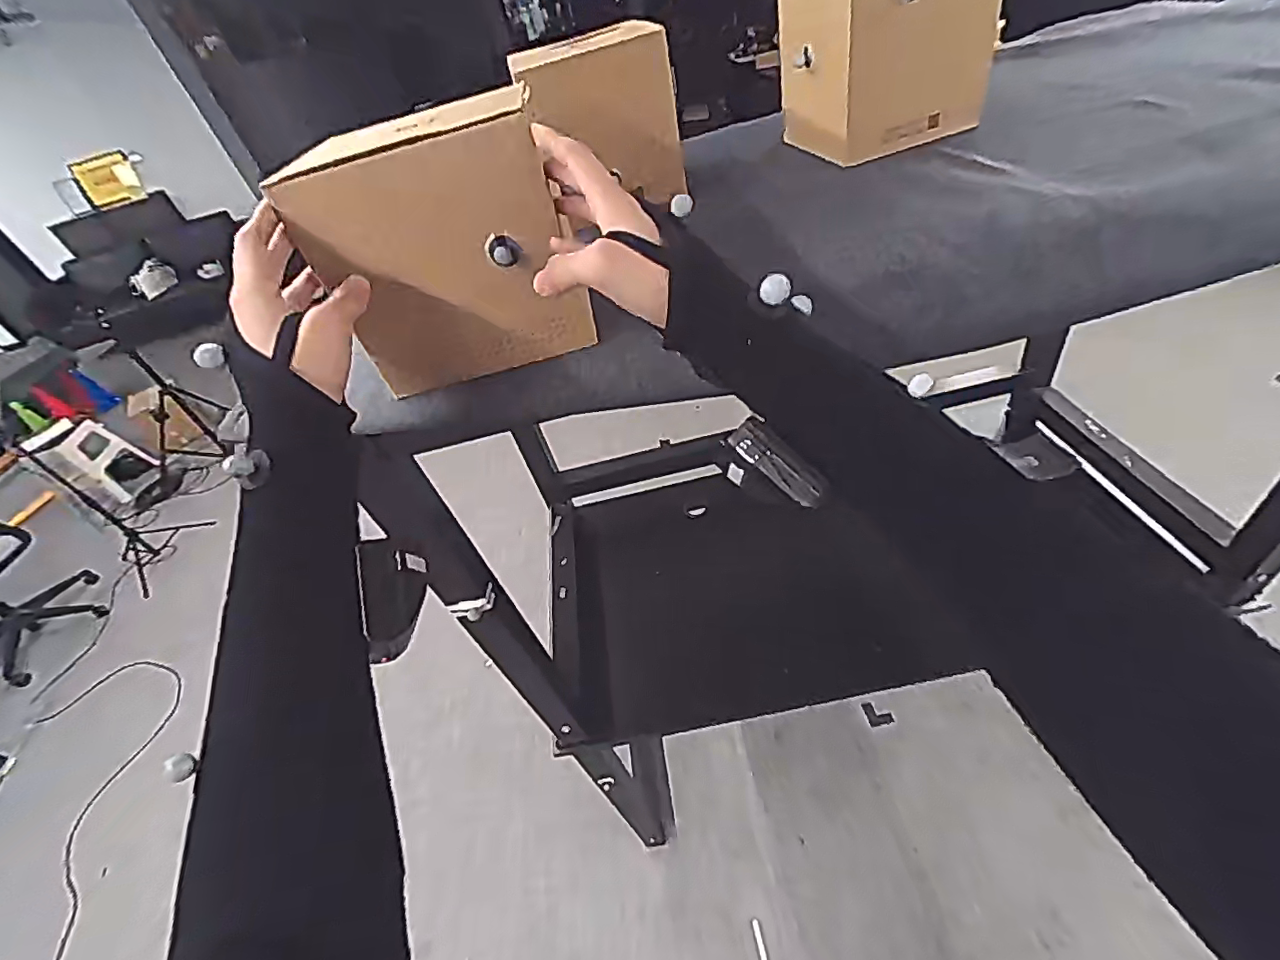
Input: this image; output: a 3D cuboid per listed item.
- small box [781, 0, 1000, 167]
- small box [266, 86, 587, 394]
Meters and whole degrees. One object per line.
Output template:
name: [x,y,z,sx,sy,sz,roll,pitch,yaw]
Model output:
small box: [0.274,-0.485,0.627,0.168,0.176,0.179,-18,41,-1]
small box: [-0.147,-0.197,0.448,0.179,0.176,0.168,-14,41,2]
